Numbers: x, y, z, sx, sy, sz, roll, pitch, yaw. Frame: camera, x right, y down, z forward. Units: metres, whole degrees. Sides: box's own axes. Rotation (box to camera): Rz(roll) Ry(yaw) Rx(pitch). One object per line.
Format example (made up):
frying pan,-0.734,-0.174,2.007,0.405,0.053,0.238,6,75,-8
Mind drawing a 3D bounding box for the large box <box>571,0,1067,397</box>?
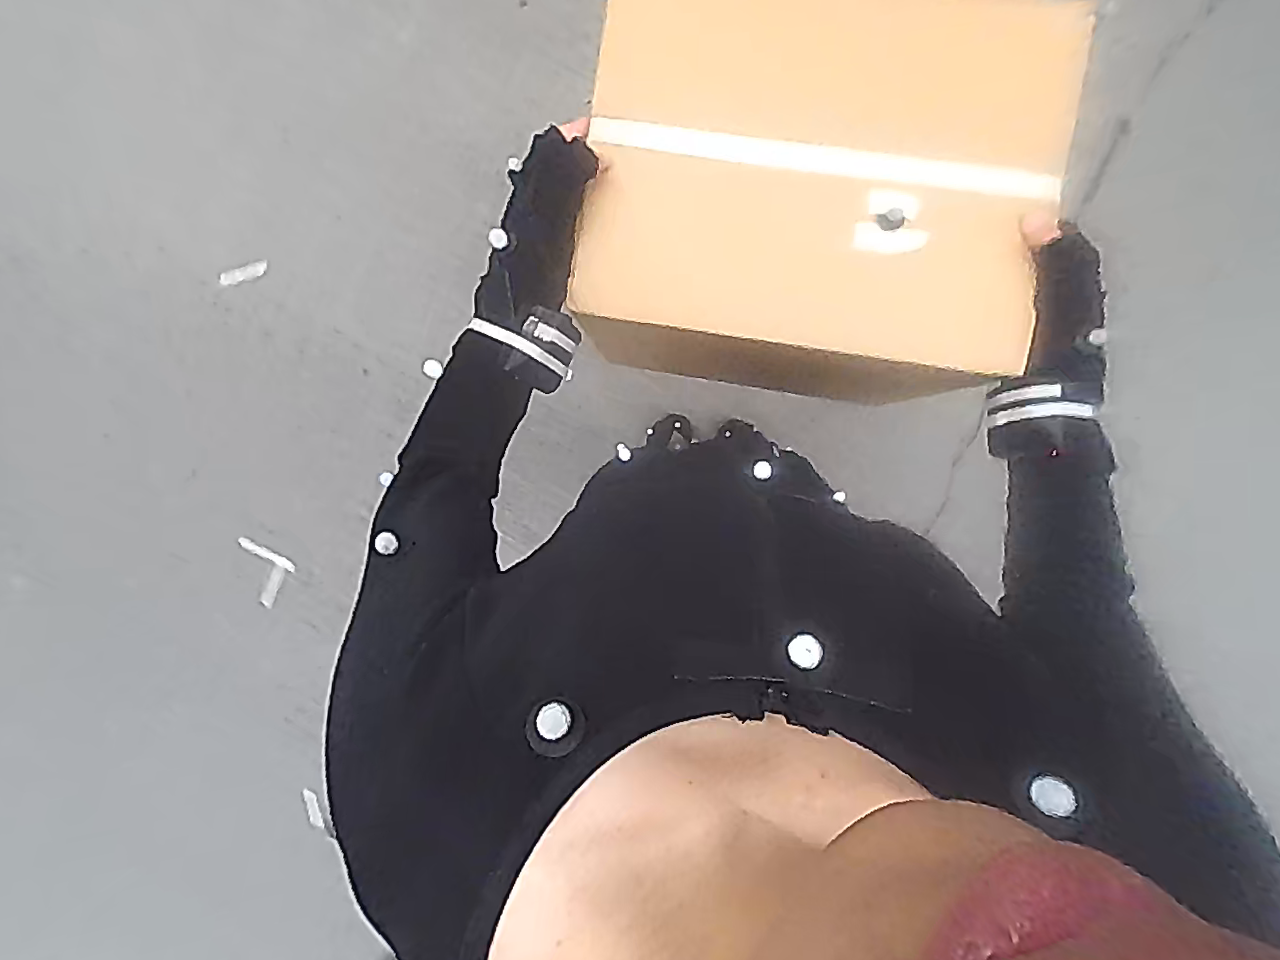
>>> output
large box,0.156,-0.289,0.625,0.408,0.320,0.320,9,94,2
